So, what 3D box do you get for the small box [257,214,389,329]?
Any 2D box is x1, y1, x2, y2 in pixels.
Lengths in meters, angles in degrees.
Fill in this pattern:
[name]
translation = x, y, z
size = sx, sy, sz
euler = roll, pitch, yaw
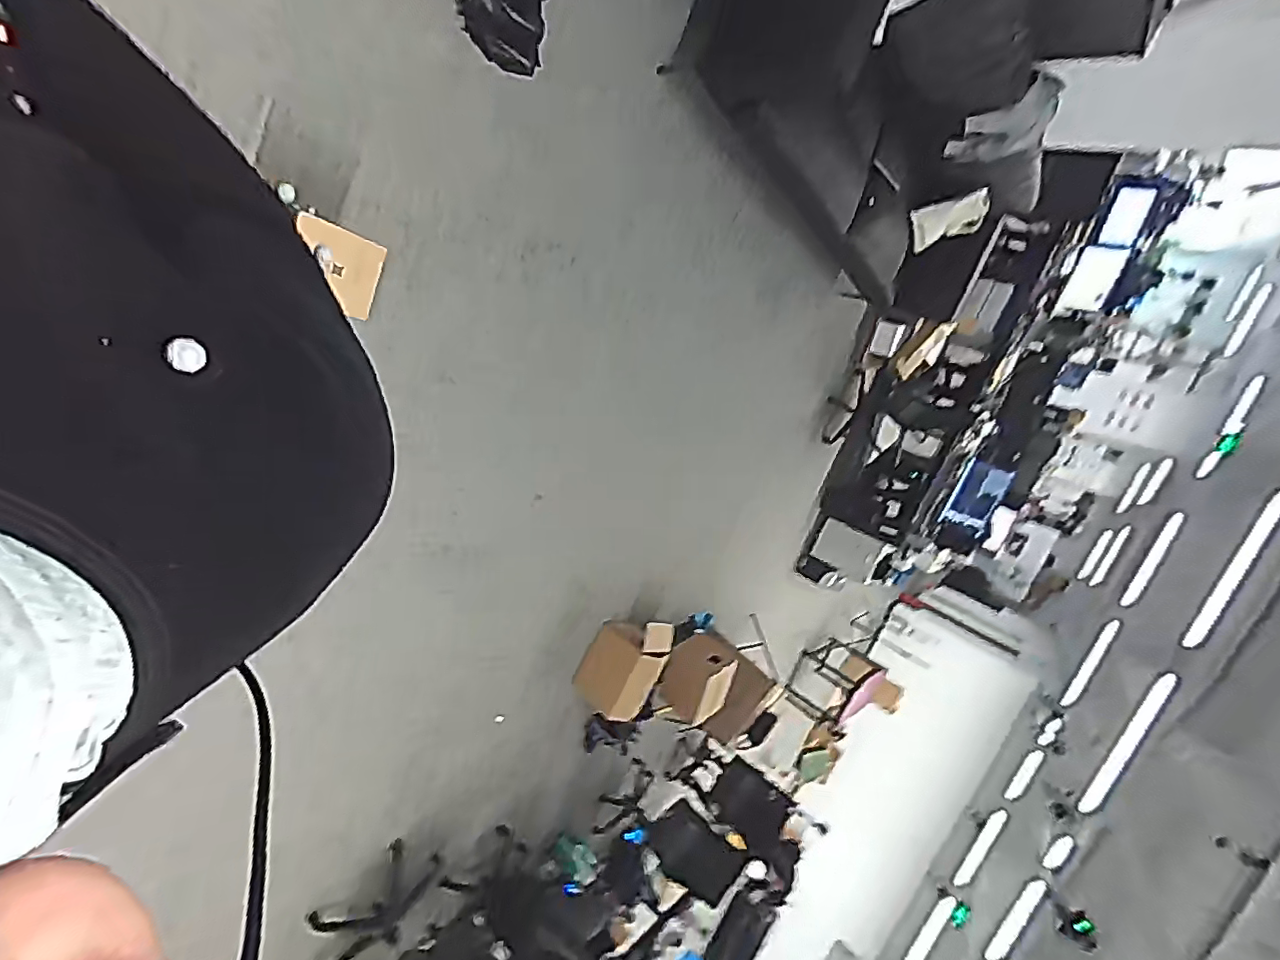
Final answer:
[small box]
translation = -0.672, -0.440, 1.138
size = 0.179, 0.176, 0.168
euler = 7, 108, -54
